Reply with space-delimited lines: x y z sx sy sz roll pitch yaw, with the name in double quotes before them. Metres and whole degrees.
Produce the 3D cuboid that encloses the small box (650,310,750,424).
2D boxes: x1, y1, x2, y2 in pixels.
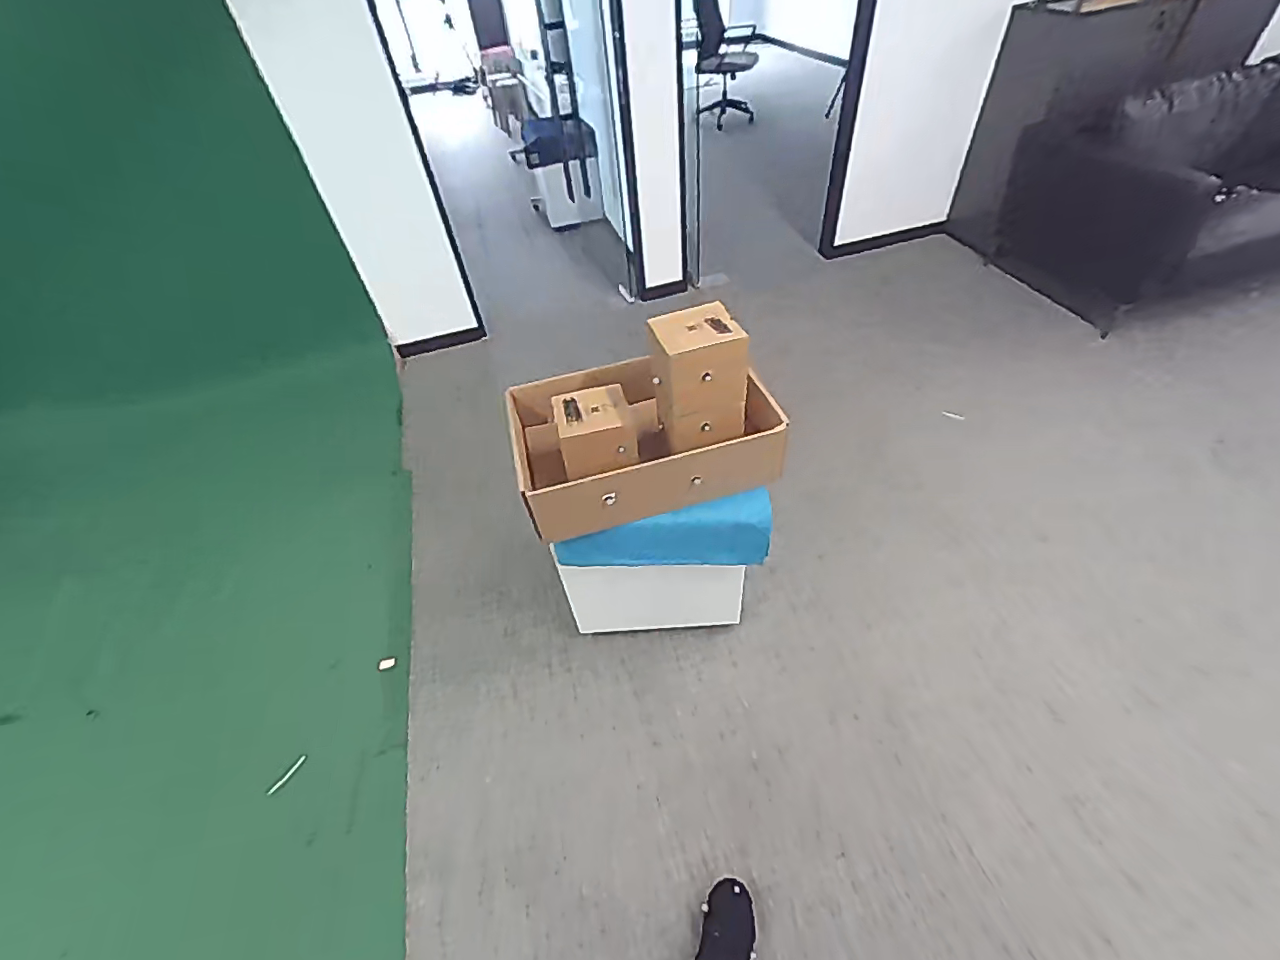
"small box" 0.133 -0.251 1.212 0.179 0.176 0.168 -16 44 -6
